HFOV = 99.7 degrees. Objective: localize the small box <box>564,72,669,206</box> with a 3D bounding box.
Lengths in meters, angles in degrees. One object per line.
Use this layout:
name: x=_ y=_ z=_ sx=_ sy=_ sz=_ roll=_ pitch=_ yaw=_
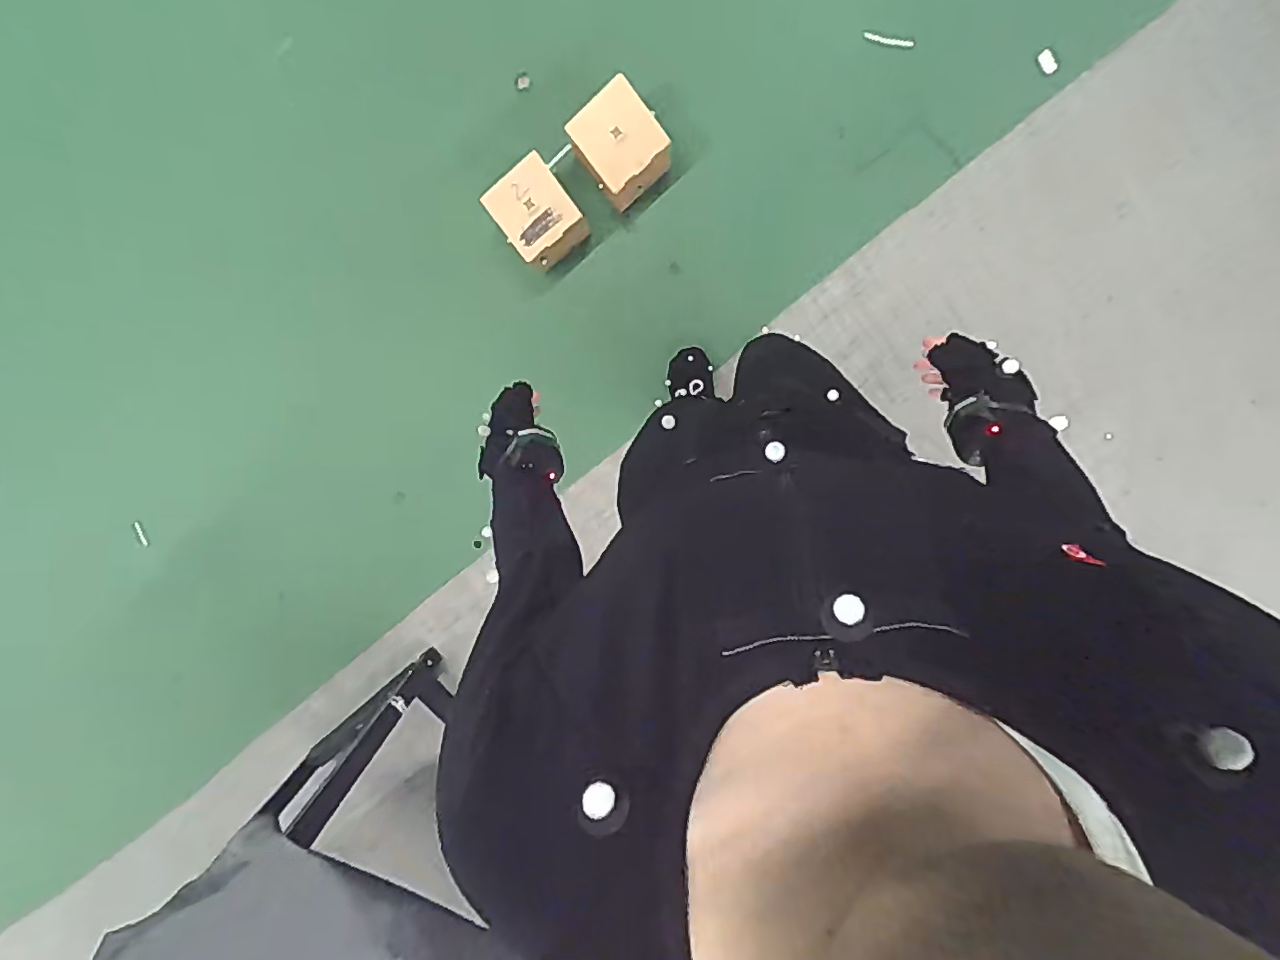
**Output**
small box: x=-0.052 y=-0.773 z=1.250 sx=0.168 sy=0.176 sz=0.179 roll=-39 pitch=101 yaw=9
